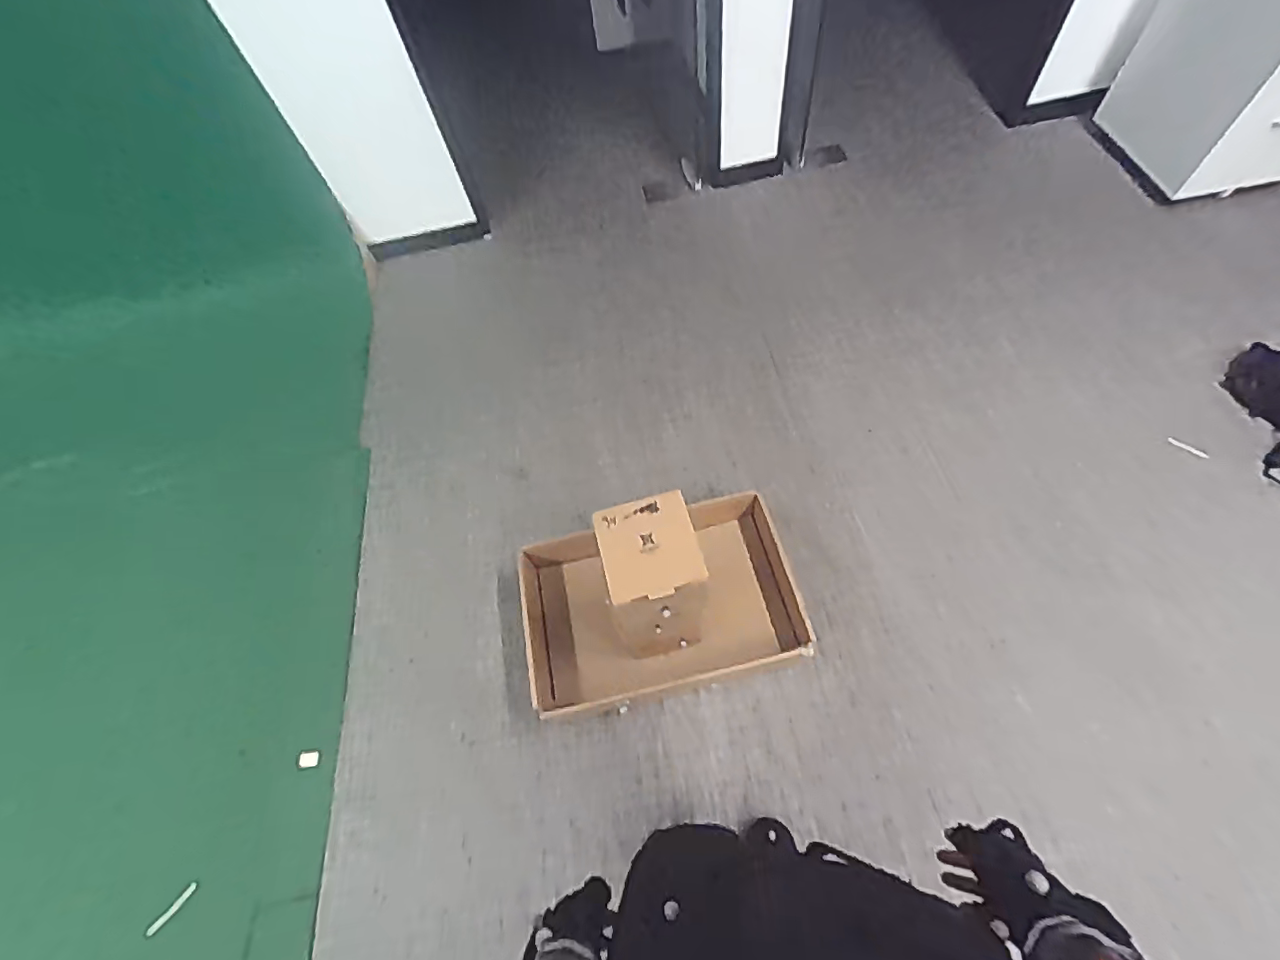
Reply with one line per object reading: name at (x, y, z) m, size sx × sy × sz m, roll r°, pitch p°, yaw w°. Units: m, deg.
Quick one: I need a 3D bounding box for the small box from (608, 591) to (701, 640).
small box at (0.027, 0.230, 1.152) m, size 0.179 × 0.176 × 0.168 m, roll -13°, pitch 60°, yaw 0°

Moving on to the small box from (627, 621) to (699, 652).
small box at (0.042, 0.297, 1.283) m, size 0.168 × 0.176 × 0.179 m, roll -14°, pitch 59°, yaw -1°

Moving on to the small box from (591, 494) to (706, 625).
small box at (0.021, 0.157, 1.009) m, size 0.168 × 0.176 × 0.179 m, roll -17°, pitch 60°, yaw -2°
